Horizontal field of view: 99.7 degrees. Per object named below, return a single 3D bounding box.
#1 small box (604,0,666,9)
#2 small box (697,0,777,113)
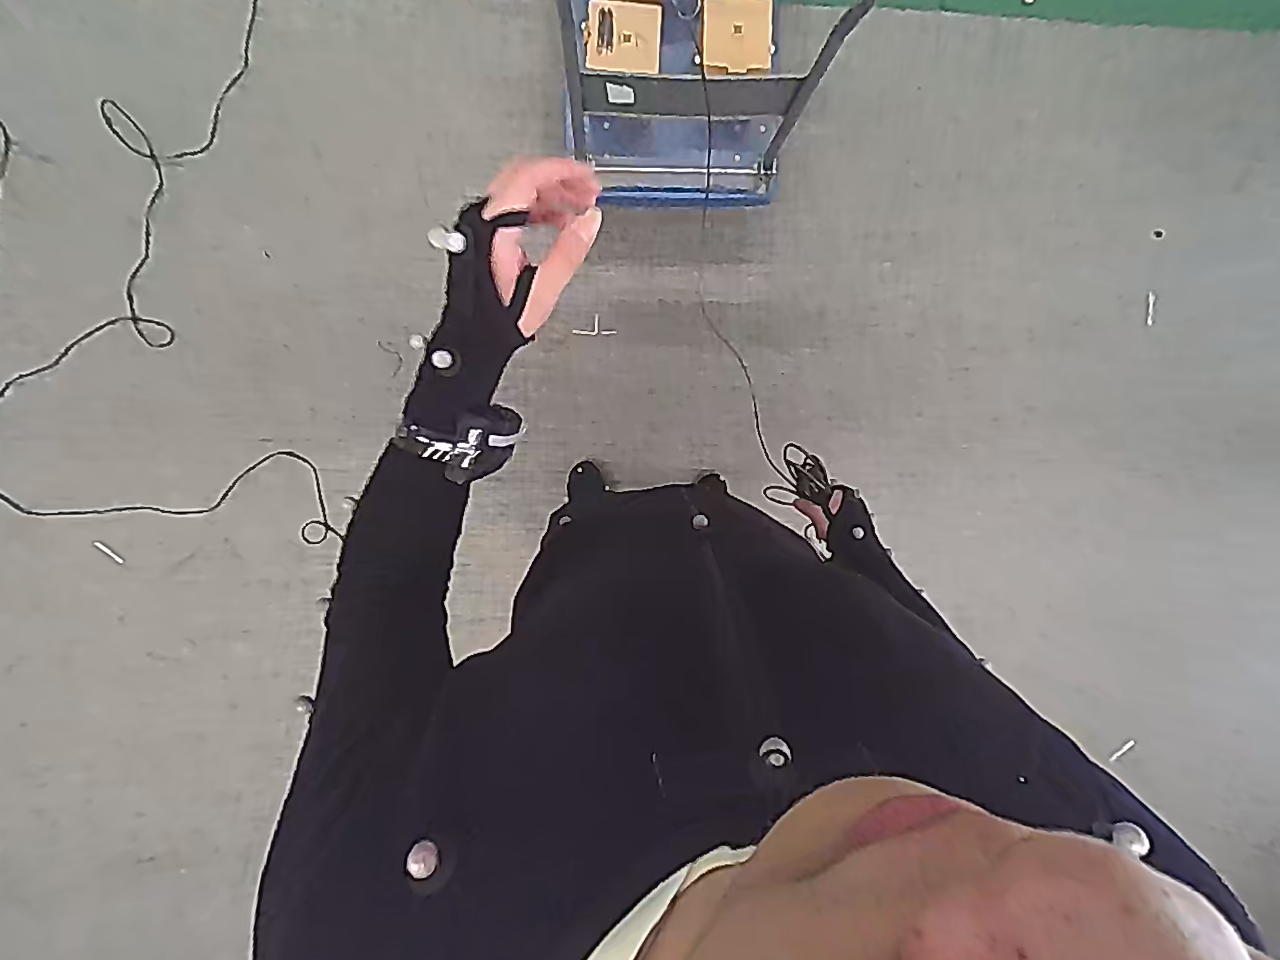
[{"bbox_3d":[-0.015,-1.315,1.335,0.168,0.176,0.179,-4,92,-3],"label":"small box"},{"bbox_3d":[0.236,-1.064,1.352,0.168,0.176,0.179,1,92,-2],"label":"small box"}]
